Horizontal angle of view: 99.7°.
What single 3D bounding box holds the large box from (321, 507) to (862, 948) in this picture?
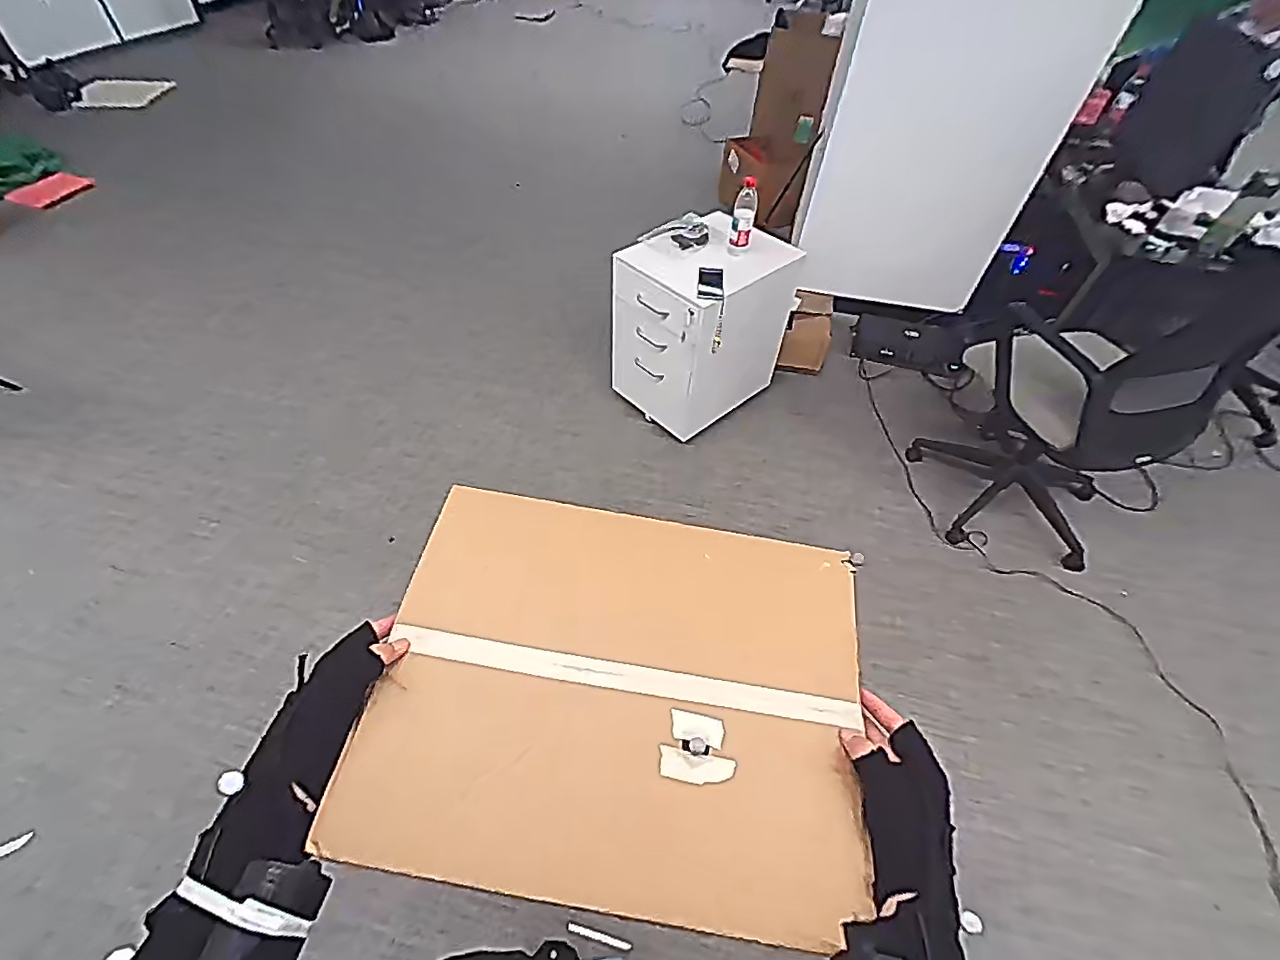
[{"bbox_3d":[-0.031,0.261,0.592,0.408,0.320,0.320,9,57,1],"label":"large box"}]
